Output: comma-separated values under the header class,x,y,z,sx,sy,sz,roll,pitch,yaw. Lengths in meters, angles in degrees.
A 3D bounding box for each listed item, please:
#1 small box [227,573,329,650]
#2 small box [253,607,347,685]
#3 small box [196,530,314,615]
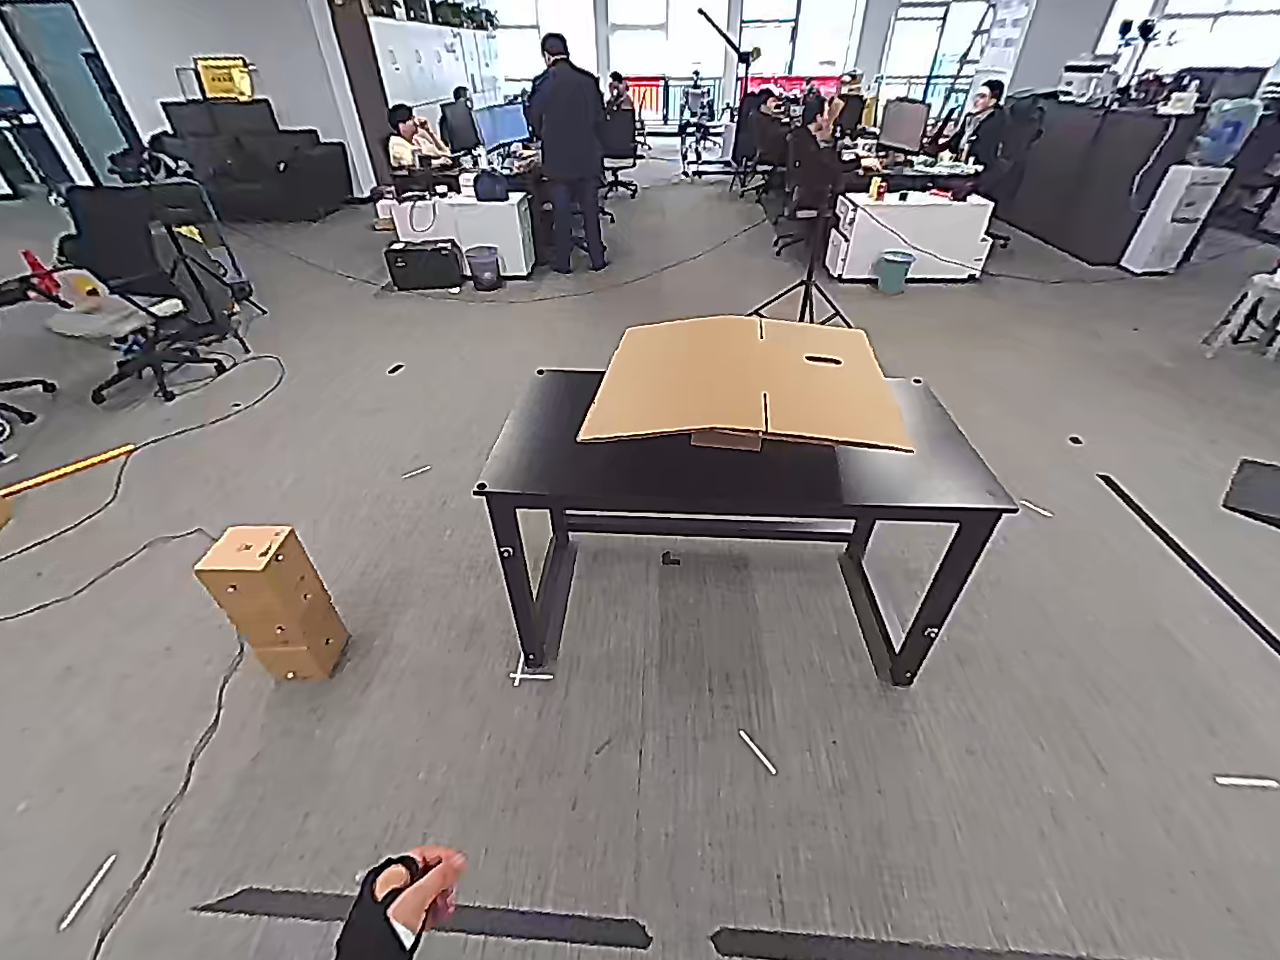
class,x,y,z,sx,sy,sz,roll,pitch,yaw
small box,-1.049,0.384,1.588,0.168,0.176,0.179,-2,36,-4
small box,-1.045,0.516,1.683,0.168,0.176,0.179,-1,39,0
small box,-1.046,0.256,1.486,0.179,0.176,0.168,-1,38,0
